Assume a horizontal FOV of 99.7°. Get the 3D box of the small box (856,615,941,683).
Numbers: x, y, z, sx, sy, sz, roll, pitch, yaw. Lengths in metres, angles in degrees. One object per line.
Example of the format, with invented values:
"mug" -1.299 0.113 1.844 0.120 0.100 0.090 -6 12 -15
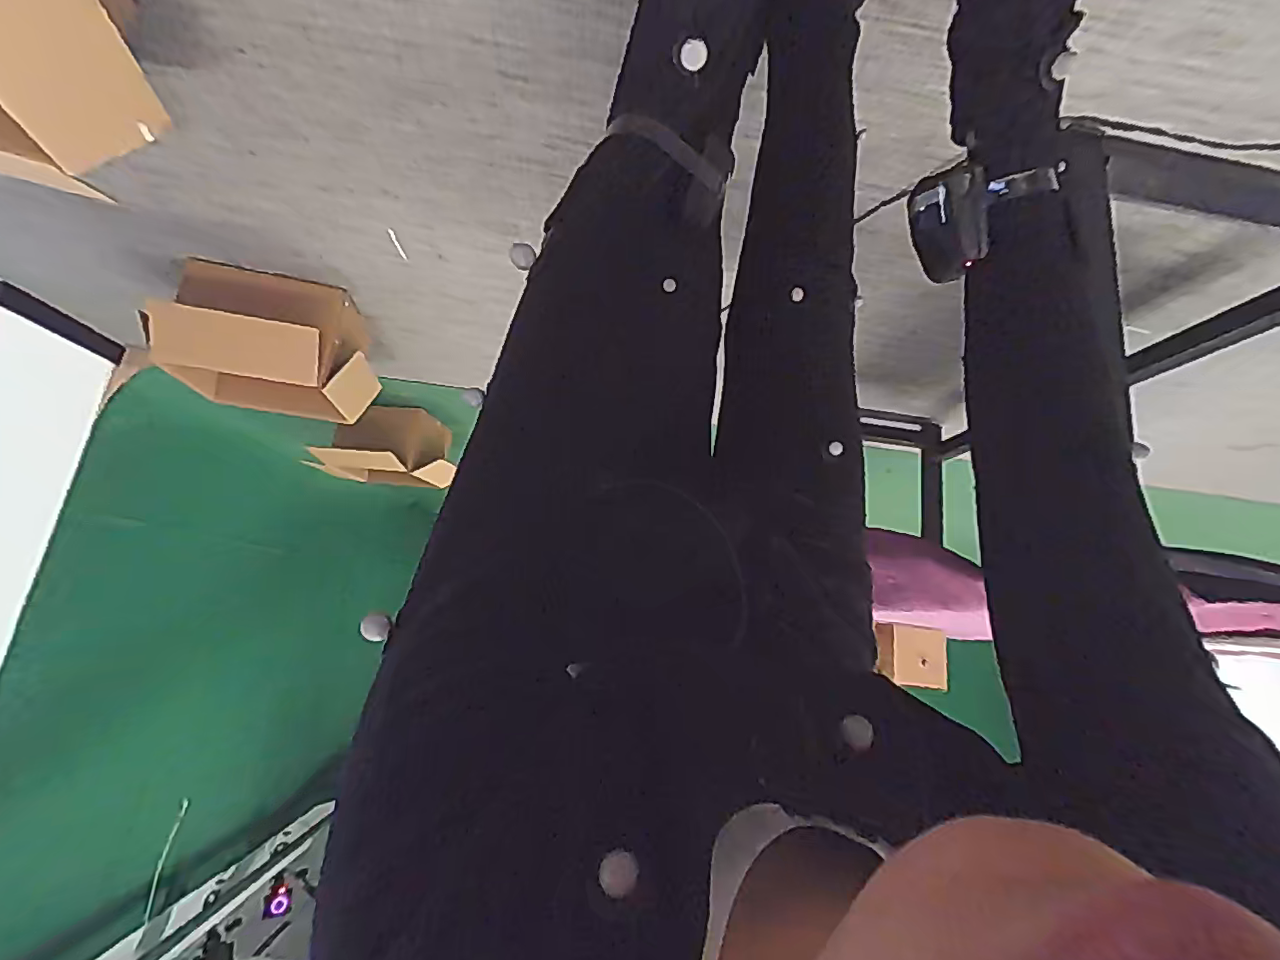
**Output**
"small box" 0.785 0.511 1.647 0.179 0.176 0.168 9 166 -10
